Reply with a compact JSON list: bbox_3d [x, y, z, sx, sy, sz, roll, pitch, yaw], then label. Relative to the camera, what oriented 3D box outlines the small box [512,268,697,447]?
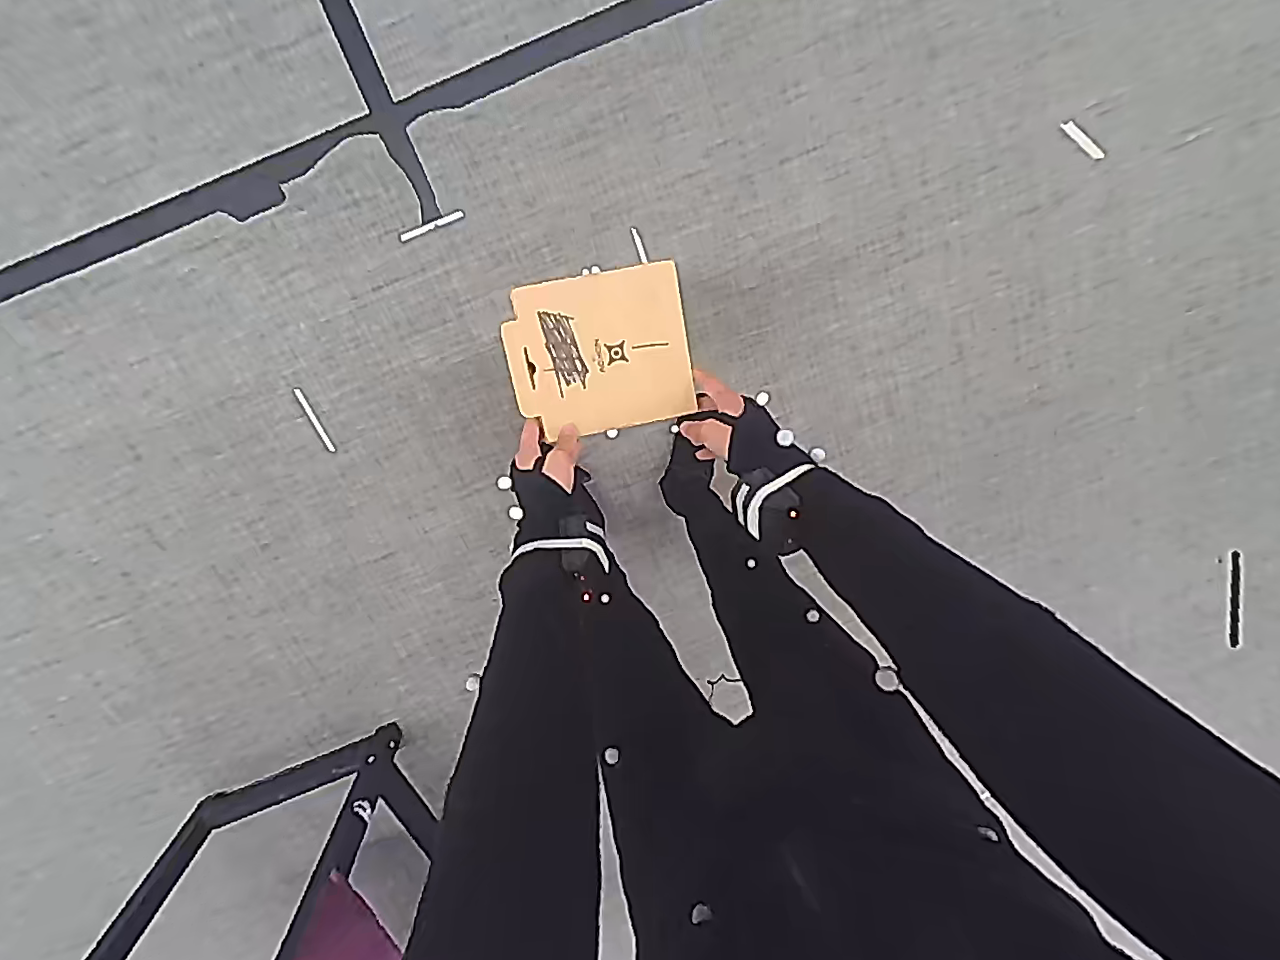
[{"bbox_3d":[-0.042,-0.147,0.656,0.179,0.176,0.168,-12,105,-4],"label":"small box"}]
